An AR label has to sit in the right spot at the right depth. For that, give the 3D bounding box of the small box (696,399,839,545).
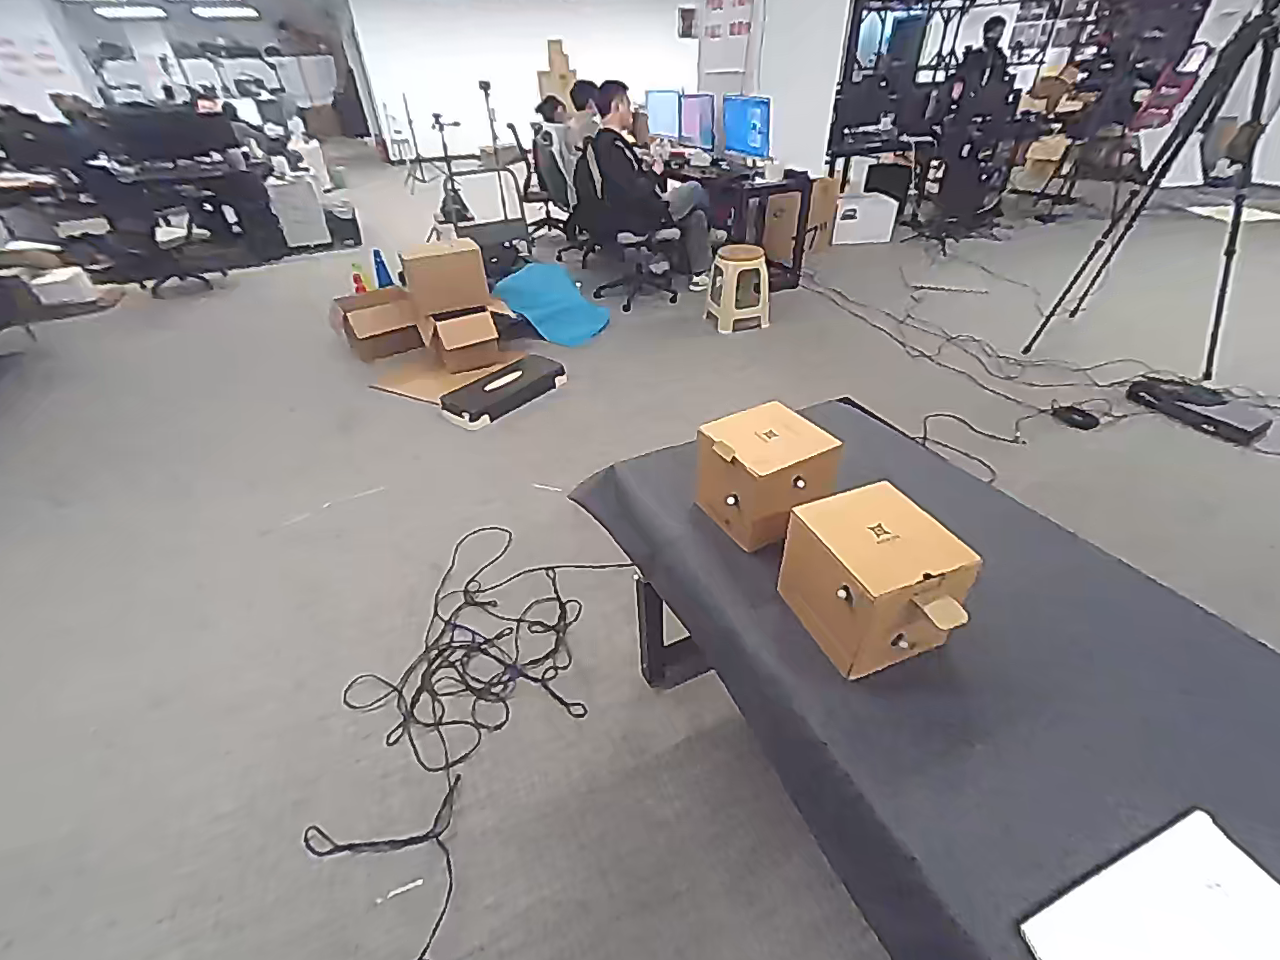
[{"bbox_3d":[0.213,-0.014,0.943,0.179,0.176,0.168,-20,42,-23],"label":"small box"}]

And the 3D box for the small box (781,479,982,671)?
[{"bbox_3d":[0.316,0.128,0.752,0.168,0.176,0.179,-14,39,-16],"label":"small box"}]
